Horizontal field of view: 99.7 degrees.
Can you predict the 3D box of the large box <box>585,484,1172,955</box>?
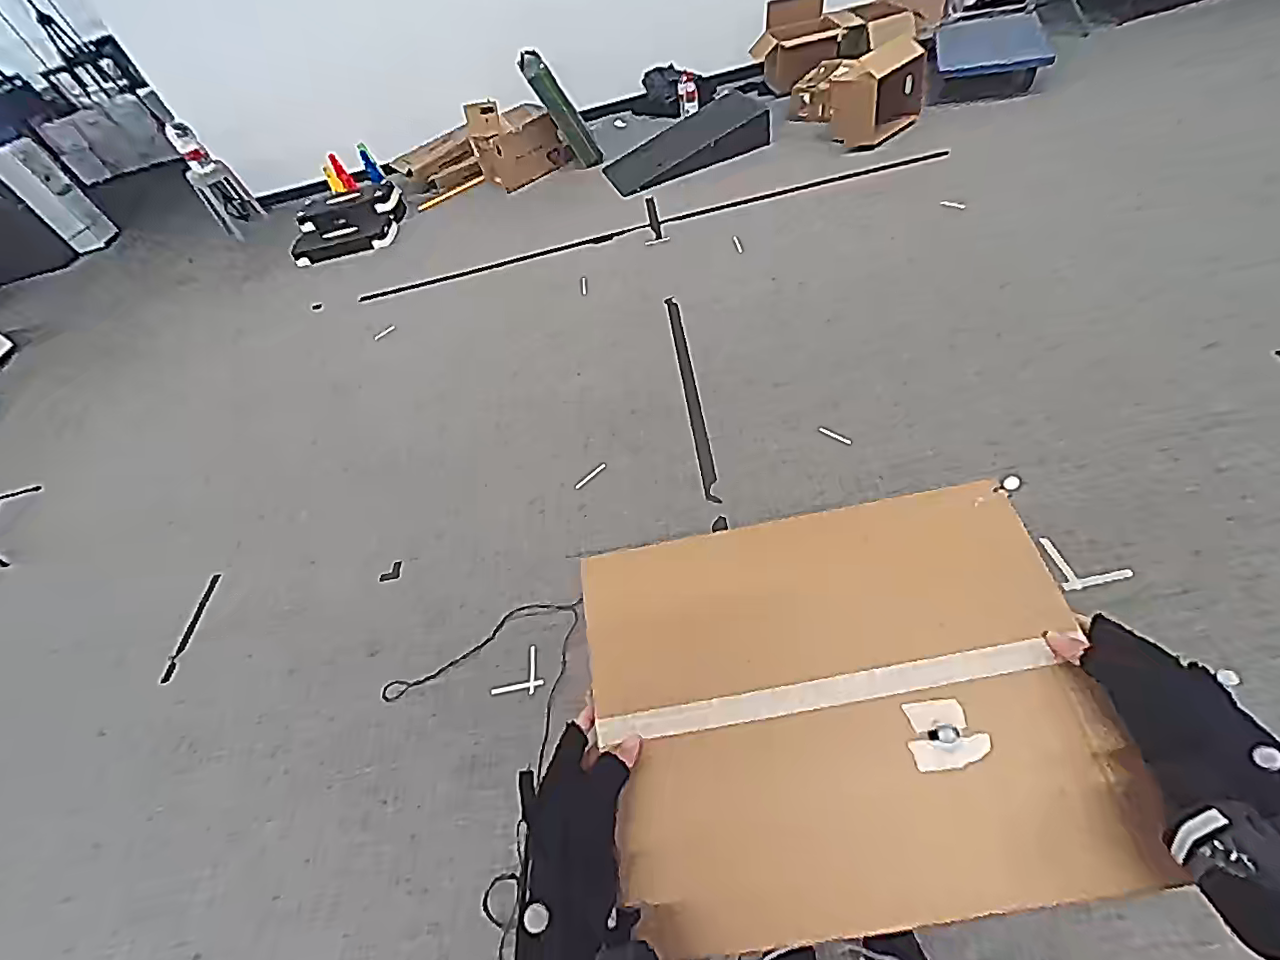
[{"bbox_3d":[0.180,0.246,0.590,0.408,0.320,0.320,-12,61,2],"label":"large box"}]
